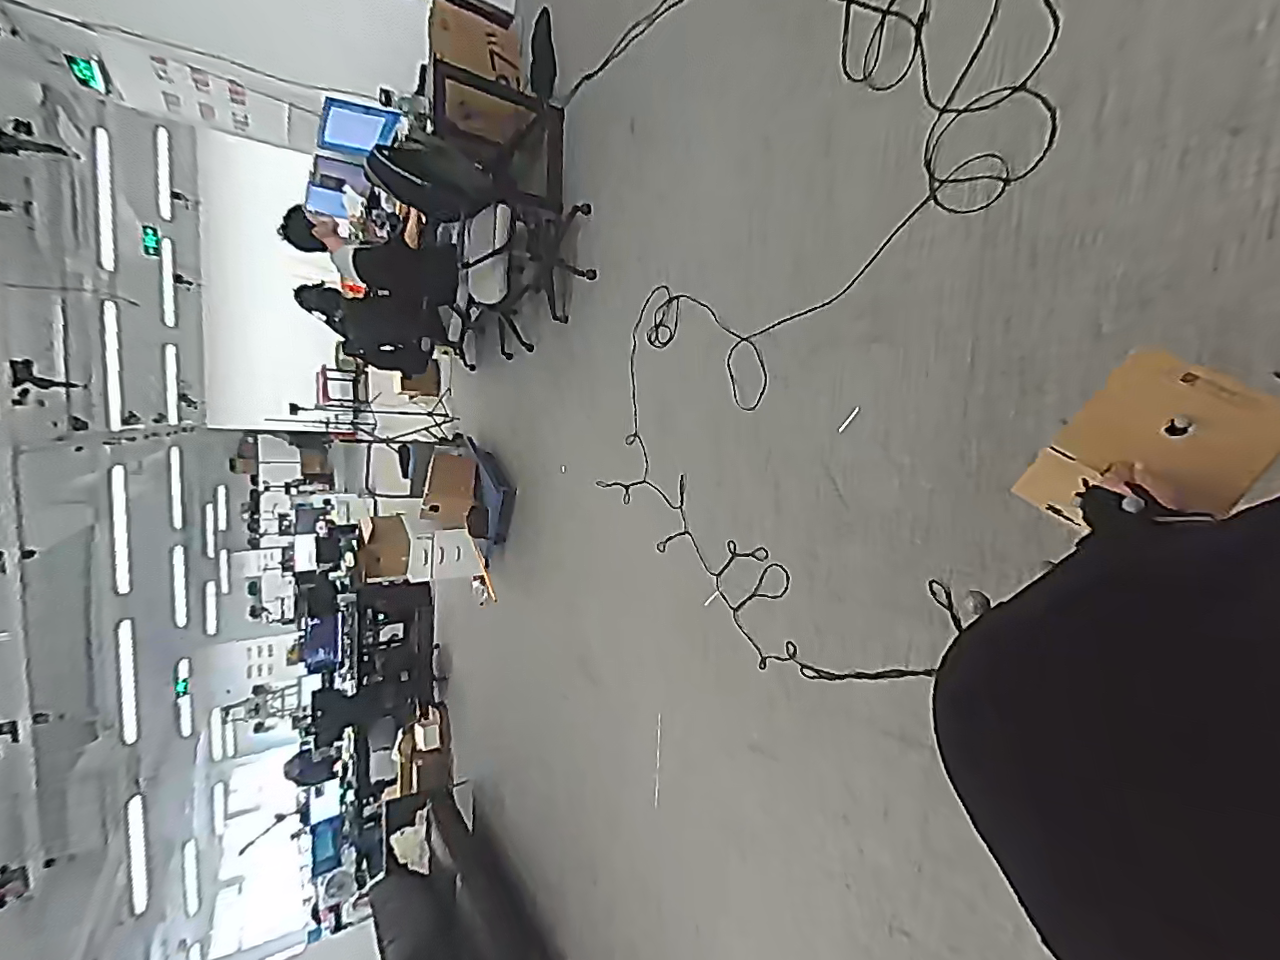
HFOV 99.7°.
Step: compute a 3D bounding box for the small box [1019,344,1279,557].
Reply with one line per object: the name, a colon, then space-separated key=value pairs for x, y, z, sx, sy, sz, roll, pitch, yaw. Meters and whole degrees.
small box: x=0.626 y=-0.035 z=0.671 sx=0.176 sy=0.179 sz=0.168 roll=-48 pitch=61 yaw=-2
